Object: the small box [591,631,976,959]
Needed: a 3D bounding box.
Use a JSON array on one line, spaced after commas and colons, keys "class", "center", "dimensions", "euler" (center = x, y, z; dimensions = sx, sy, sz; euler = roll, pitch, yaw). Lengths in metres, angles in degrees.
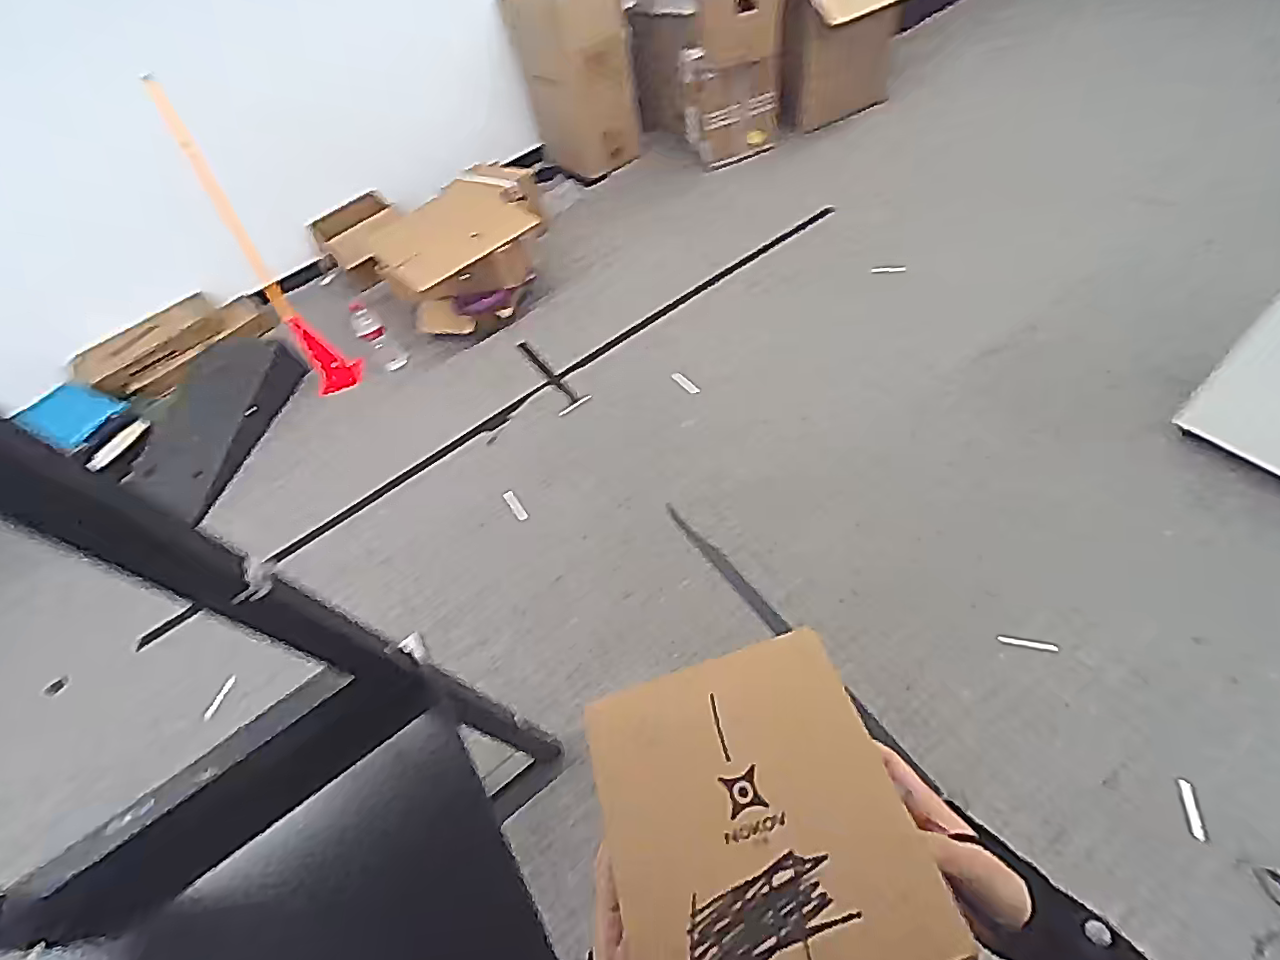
[{"class": "small box", "center": [0.080, 0.236, 0.367], "dimensions": [0.168, 0.176, 0.179], "euler": [-18, 50, 0]}]
